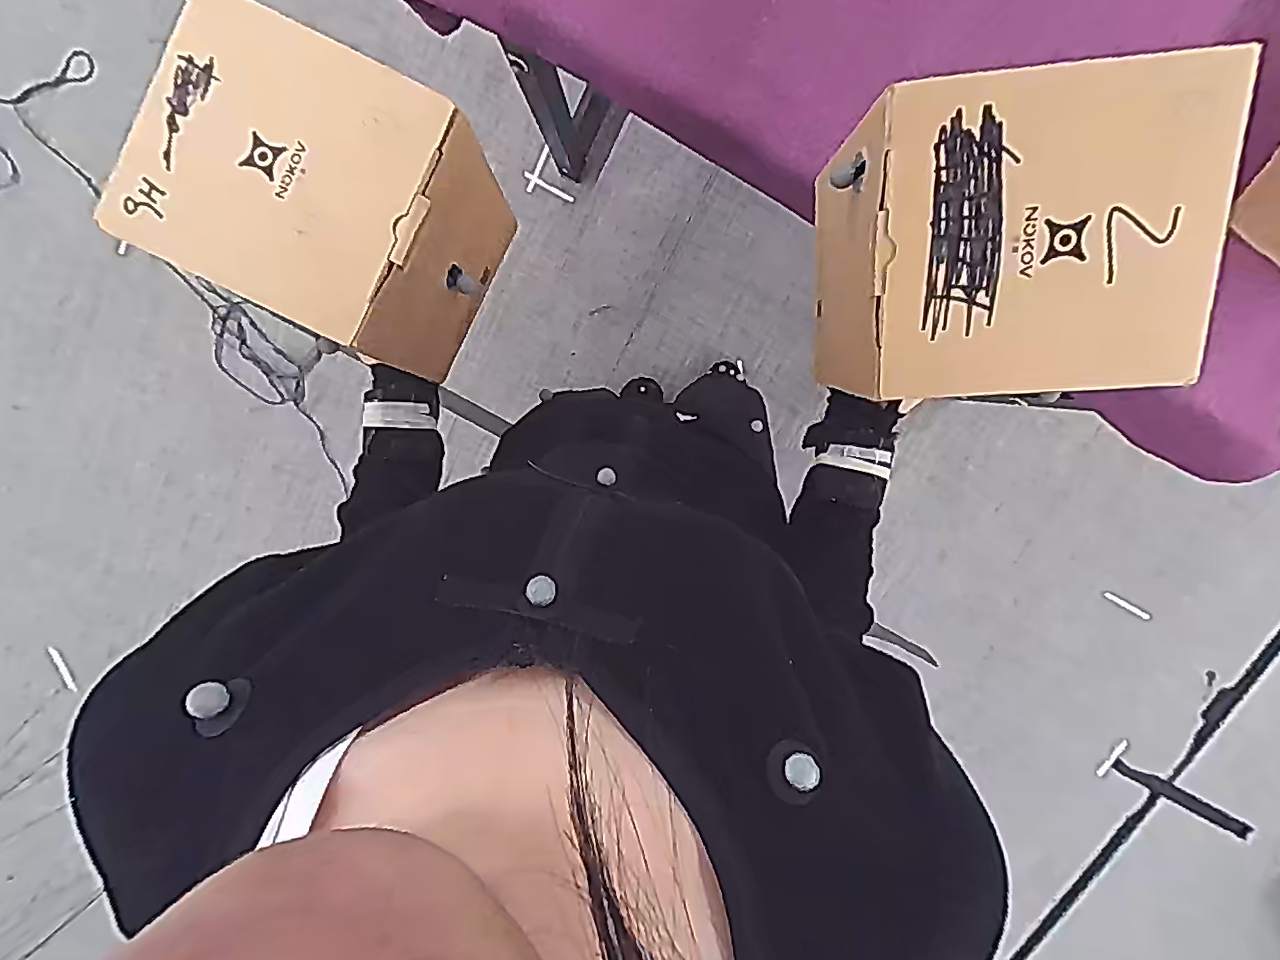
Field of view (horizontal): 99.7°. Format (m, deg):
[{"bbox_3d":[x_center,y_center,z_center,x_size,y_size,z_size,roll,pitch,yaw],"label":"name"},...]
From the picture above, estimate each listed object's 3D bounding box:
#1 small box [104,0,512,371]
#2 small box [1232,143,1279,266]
[{"bbox_3d":[-0.217,-0.195,0.410,0.179,0.176,0.168,25,91,-3],"label":"small box"},{"bbox_3d":[0.828,-0.333,0.588,0.168,0.176,0.179,33,99,-5],"label":"small box"}]
